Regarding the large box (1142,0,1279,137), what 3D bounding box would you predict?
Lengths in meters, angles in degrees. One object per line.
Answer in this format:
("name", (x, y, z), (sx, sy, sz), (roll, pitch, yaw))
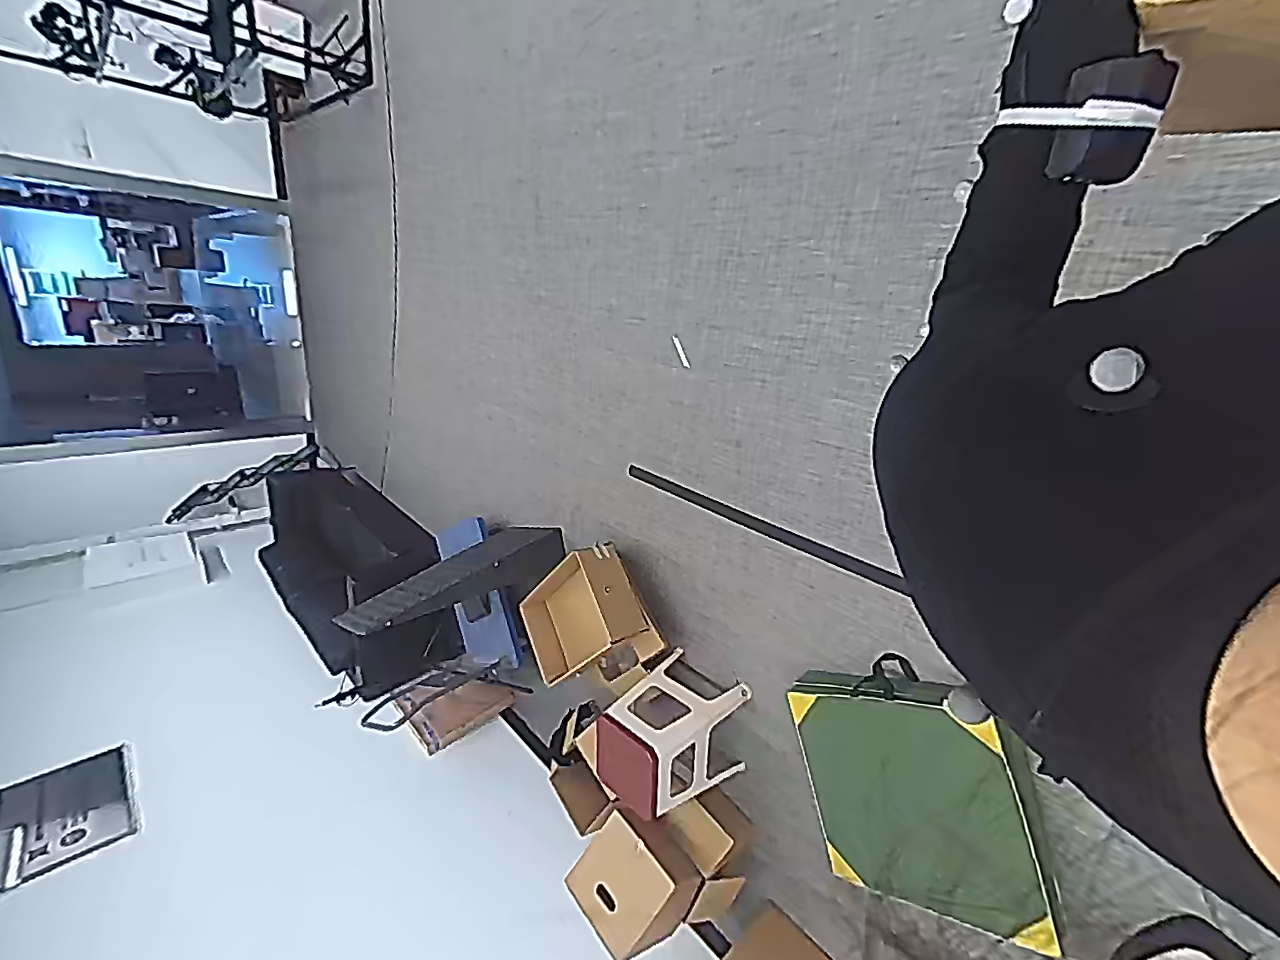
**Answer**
("large box", (0.549, -0.381, 0.245), (0.408, 0.320, 0.320), (25, 119, 38))
